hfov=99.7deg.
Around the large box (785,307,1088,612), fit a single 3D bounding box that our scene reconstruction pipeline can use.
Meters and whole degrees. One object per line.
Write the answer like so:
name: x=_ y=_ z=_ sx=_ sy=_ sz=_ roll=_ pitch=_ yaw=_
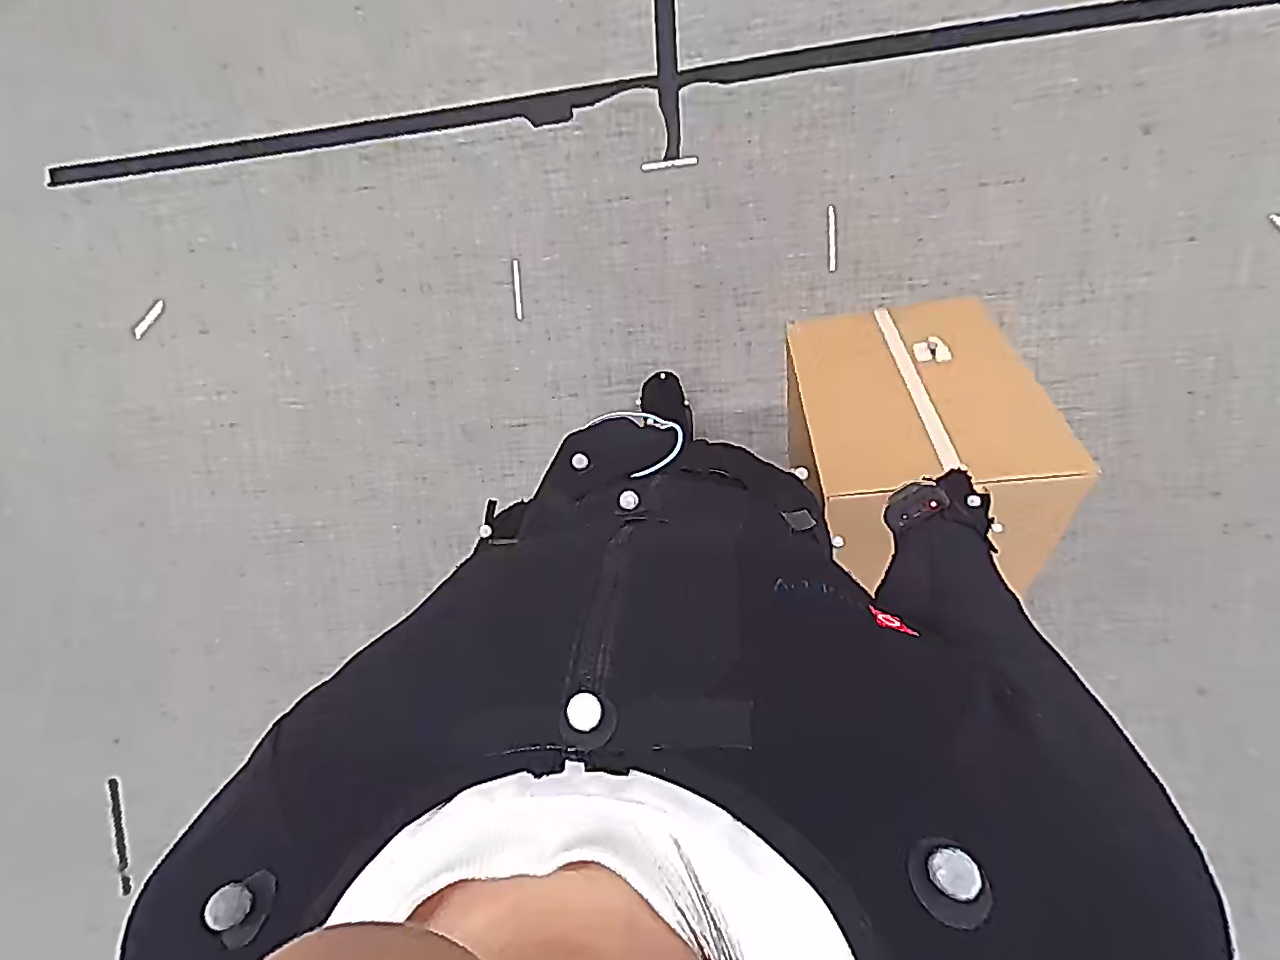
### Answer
large box: x=0.433 y=-0.036 z=0.917 sx=0.320 sy=0.408 sz=0.320 roll=-5 pitch=135 yaw=9
